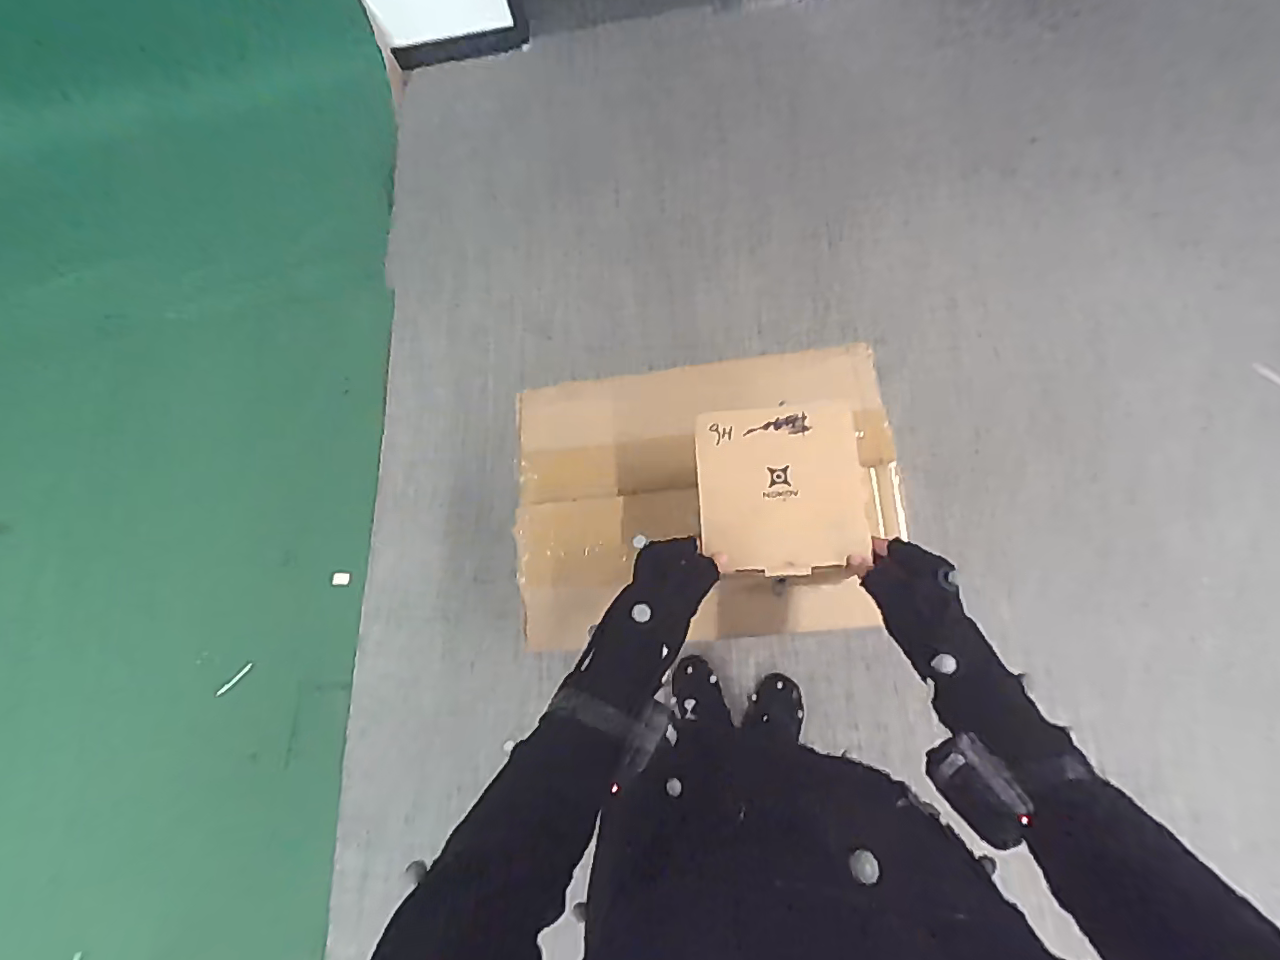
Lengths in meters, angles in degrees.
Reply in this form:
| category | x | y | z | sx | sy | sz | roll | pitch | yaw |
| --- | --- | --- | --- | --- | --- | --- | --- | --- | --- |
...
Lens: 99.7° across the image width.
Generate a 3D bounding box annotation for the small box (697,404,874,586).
| category | x | y | z | sx | sy | sz | roll | pitch | yaw |
| --- | --- | --- | --- | --- | --- | --- | --- | --- | --- |
| small box | 0.157 | 0.030 | 0.633 | 0.168 | 0.176 | 0.179 | -4 | 73 | 7 |
